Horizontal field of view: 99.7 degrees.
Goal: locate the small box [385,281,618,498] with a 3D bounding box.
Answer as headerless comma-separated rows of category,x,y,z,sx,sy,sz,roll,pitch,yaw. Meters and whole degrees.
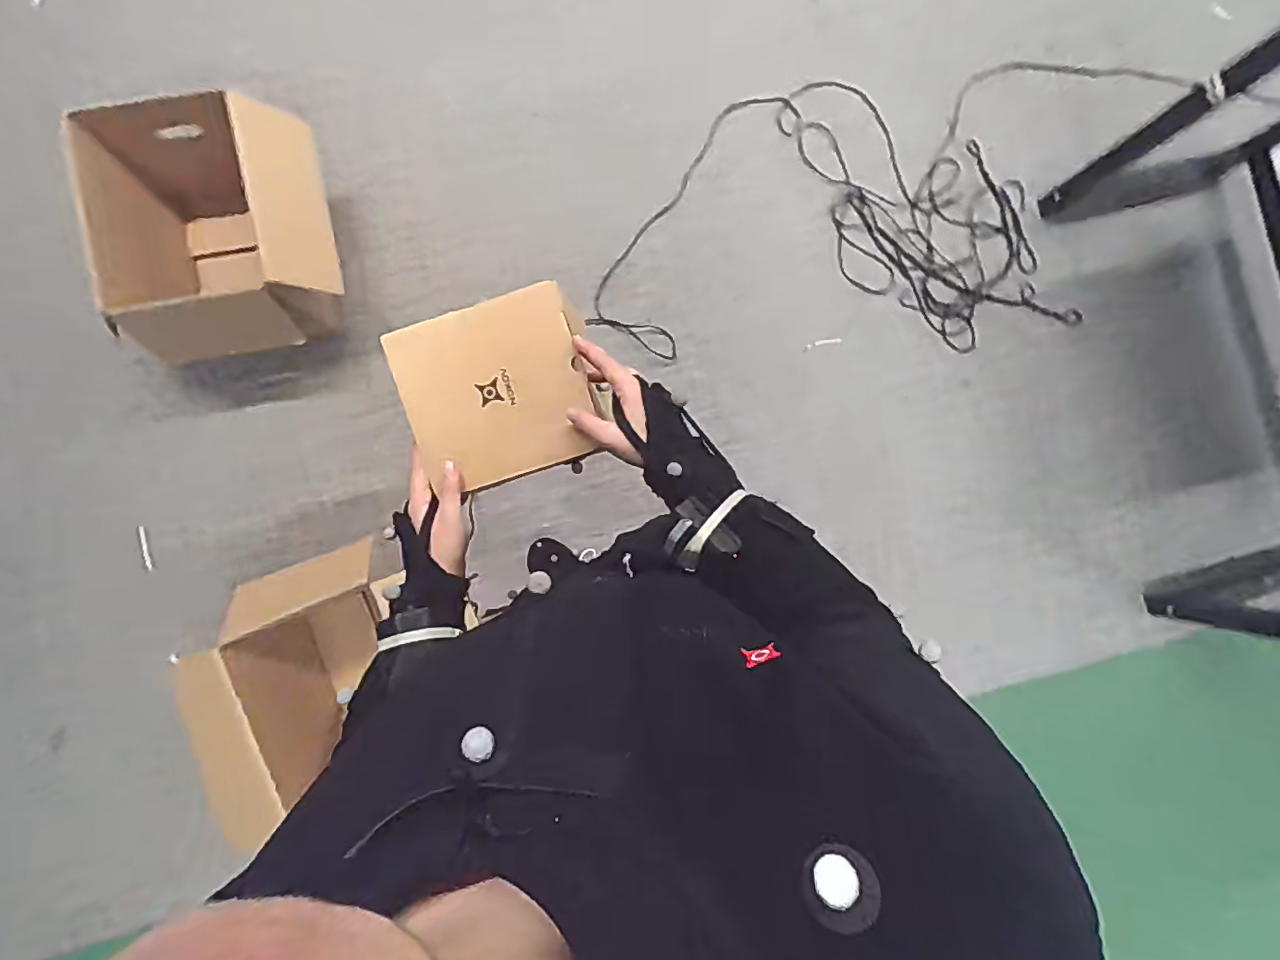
small box,-0.130,-0.085,0.578,0.179,0.176,0.168,-17,93,1
